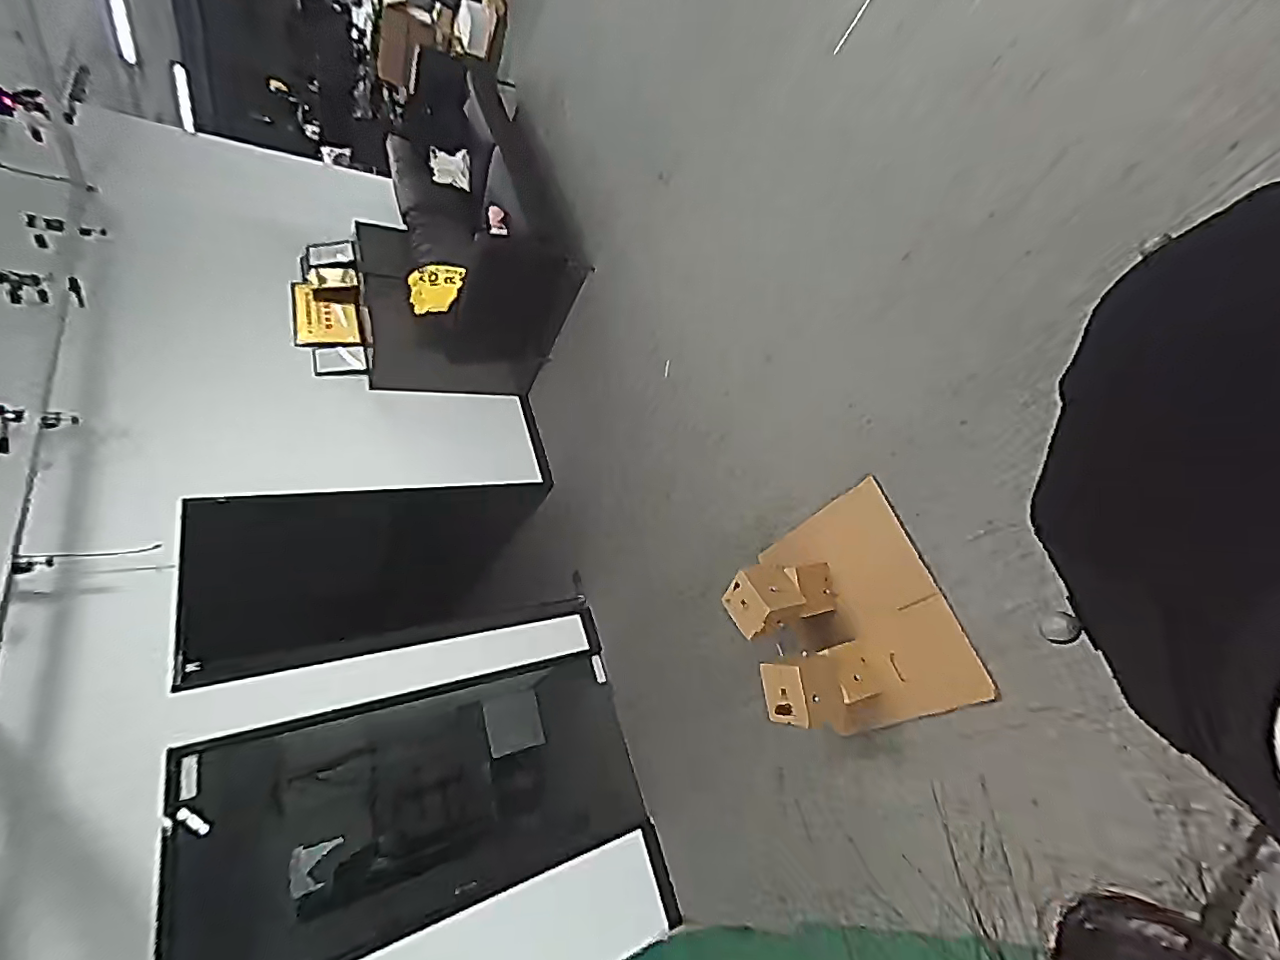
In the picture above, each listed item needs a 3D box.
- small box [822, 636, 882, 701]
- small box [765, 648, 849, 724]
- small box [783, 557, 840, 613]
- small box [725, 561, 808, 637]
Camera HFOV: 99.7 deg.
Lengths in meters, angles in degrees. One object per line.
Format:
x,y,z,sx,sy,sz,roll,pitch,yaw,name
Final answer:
0.654,0.622,1.757,0.179,0.176,0.168,-49,52,48,small box
0.516,0.628,1.666,0.168,0.176,0.179,-24,72,56,small box
0.559,0.366,1.877,0.179,0.176,0.168,-23,73,56,small box
0.421,0.386,1.791,0.179,0.176,0.168,56,137,38,small box
